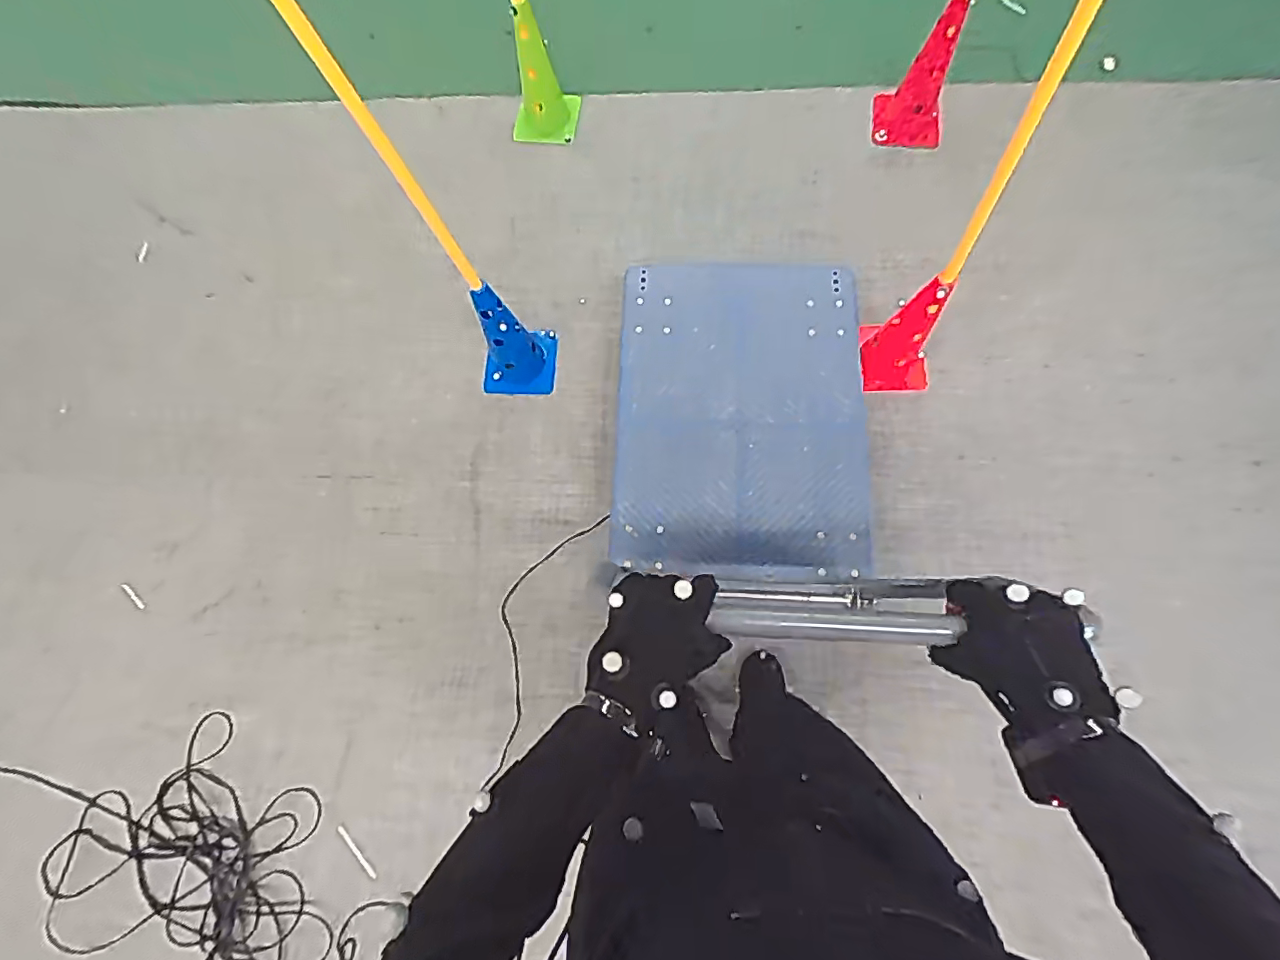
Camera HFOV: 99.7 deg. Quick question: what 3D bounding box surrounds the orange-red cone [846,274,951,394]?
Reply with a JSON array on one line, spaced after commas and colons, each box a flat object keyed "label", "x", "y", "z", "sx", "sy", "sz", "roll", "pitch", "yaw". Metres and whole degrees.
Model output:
[{"label": "orange-red cone", "x": 0.657, "y": -0.374, "z": 1.319, "sx": 0.199, "sy": 0.360, "sz": 0.198, "roll": 1, "pitch": 74, "yaw": 5}]

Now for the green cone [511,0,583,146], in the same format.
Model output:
[{"label": "green cone", "x": -0.307, "y": -1.227, "z": 1.608, "sx": 0.202, "sy": 0.368, "sz": 0.200, "roll": 6, "pitch": 74, "yaw": 6}]
